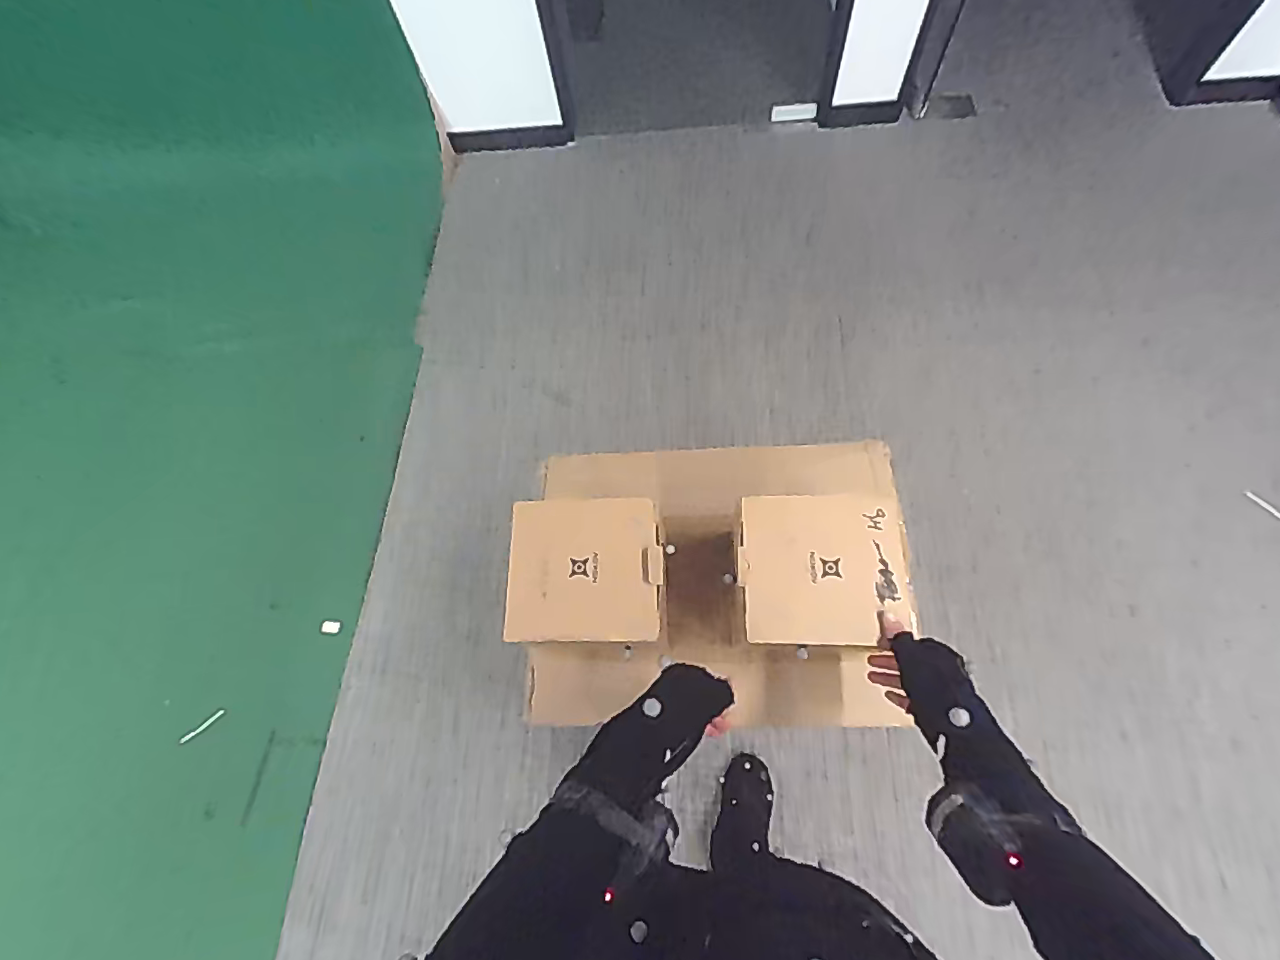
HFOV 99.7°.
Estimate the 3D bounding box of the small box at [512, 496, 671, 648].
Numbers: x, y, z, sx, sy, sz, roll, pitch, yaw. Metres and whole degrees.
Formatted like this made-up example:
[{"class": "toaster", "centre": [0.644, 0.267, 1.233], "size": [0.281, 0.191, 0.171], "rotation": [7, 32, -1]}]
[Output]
[{"class": "small box", "centre": [-0.050, 0.125, 0.697], "size": [0.179, 0.176, 0.168], "rotation": [-3, 69, 6]}]
